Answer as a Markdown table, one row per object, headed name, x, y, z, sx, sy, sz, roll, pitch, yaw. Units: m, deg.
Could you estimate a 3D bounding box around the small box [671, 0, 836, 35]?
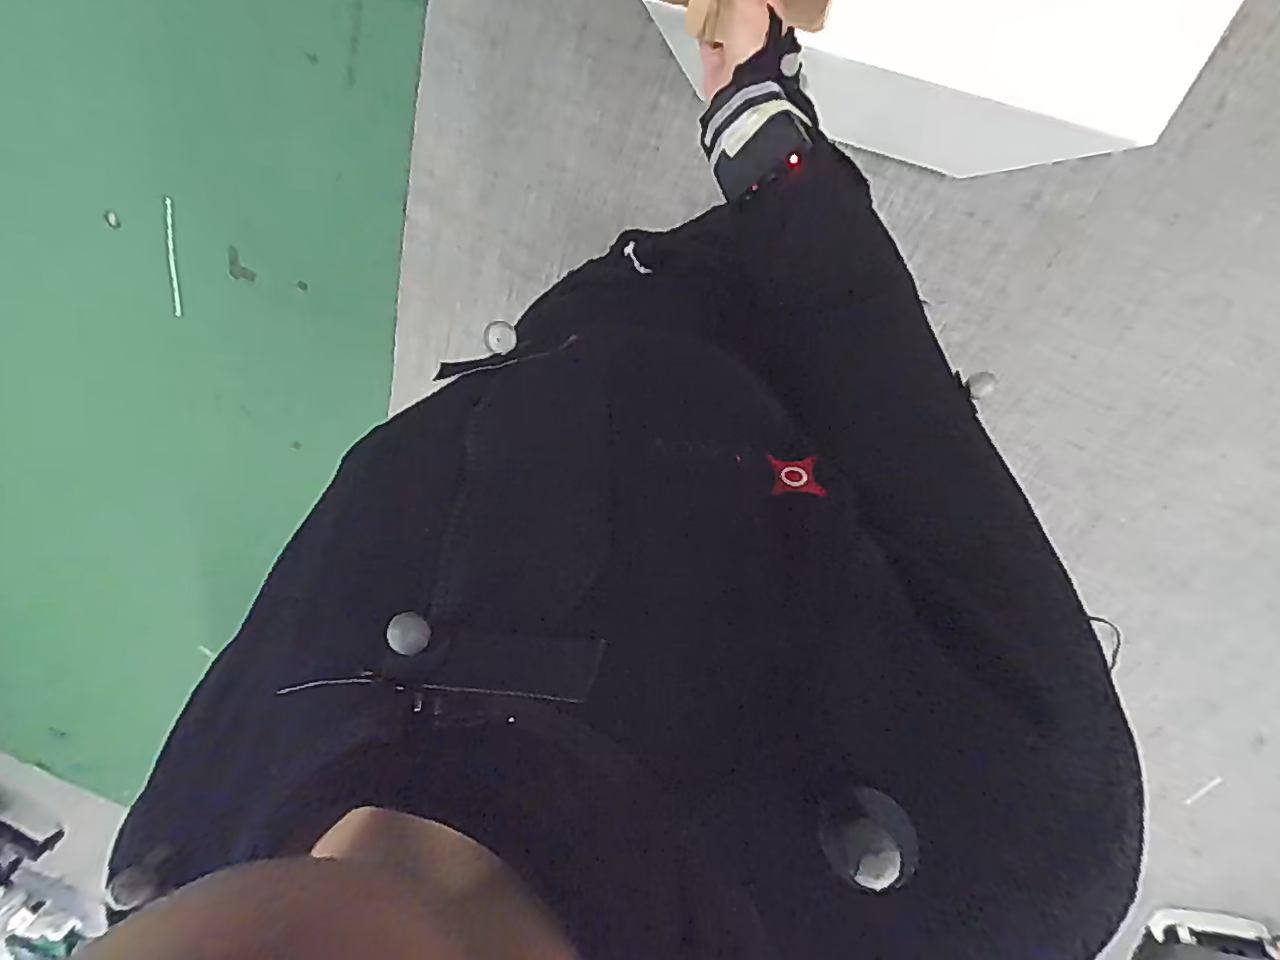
| name | x | y | z | sx | sy | sz | roll | pitch | yaw |
| --- | --- | --- | --- | --- | --- | --- | --- | --- | --- |
| small box | 0.098 | -0.482 | 0.409 | 0.168 | 0.176 | 0.179 | 16 | 119 | 5 |
